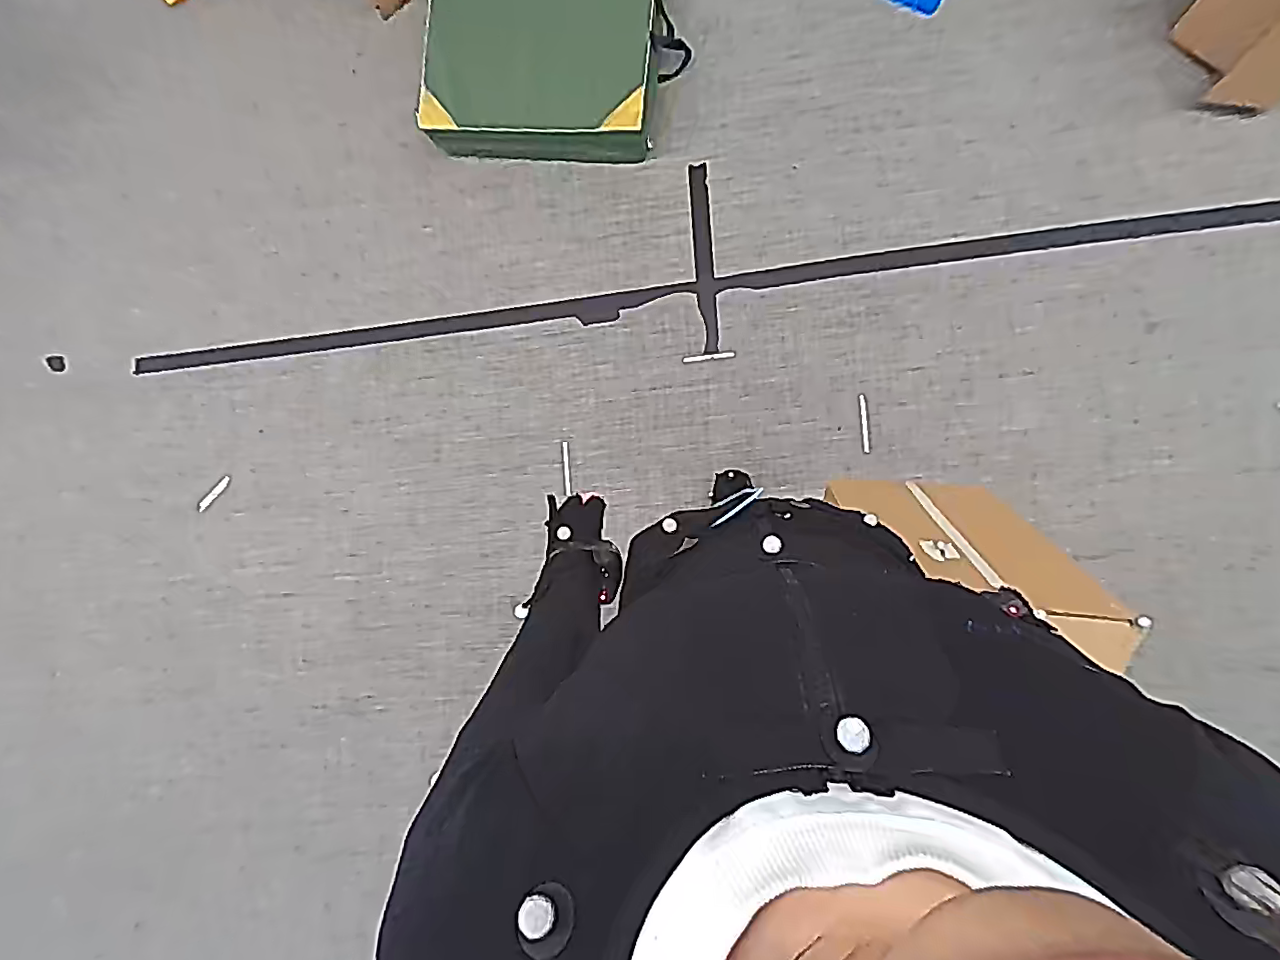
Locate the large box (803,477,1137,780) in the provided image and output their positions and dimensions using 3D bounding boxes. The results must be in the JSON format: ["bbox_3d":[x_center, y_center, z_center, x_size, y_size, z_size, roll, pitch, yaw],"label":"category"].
[{"bbox_3d":[0.493,0.225,0.937,0.320,0.408,0.320,3,116,5],"label":"large box"}]
